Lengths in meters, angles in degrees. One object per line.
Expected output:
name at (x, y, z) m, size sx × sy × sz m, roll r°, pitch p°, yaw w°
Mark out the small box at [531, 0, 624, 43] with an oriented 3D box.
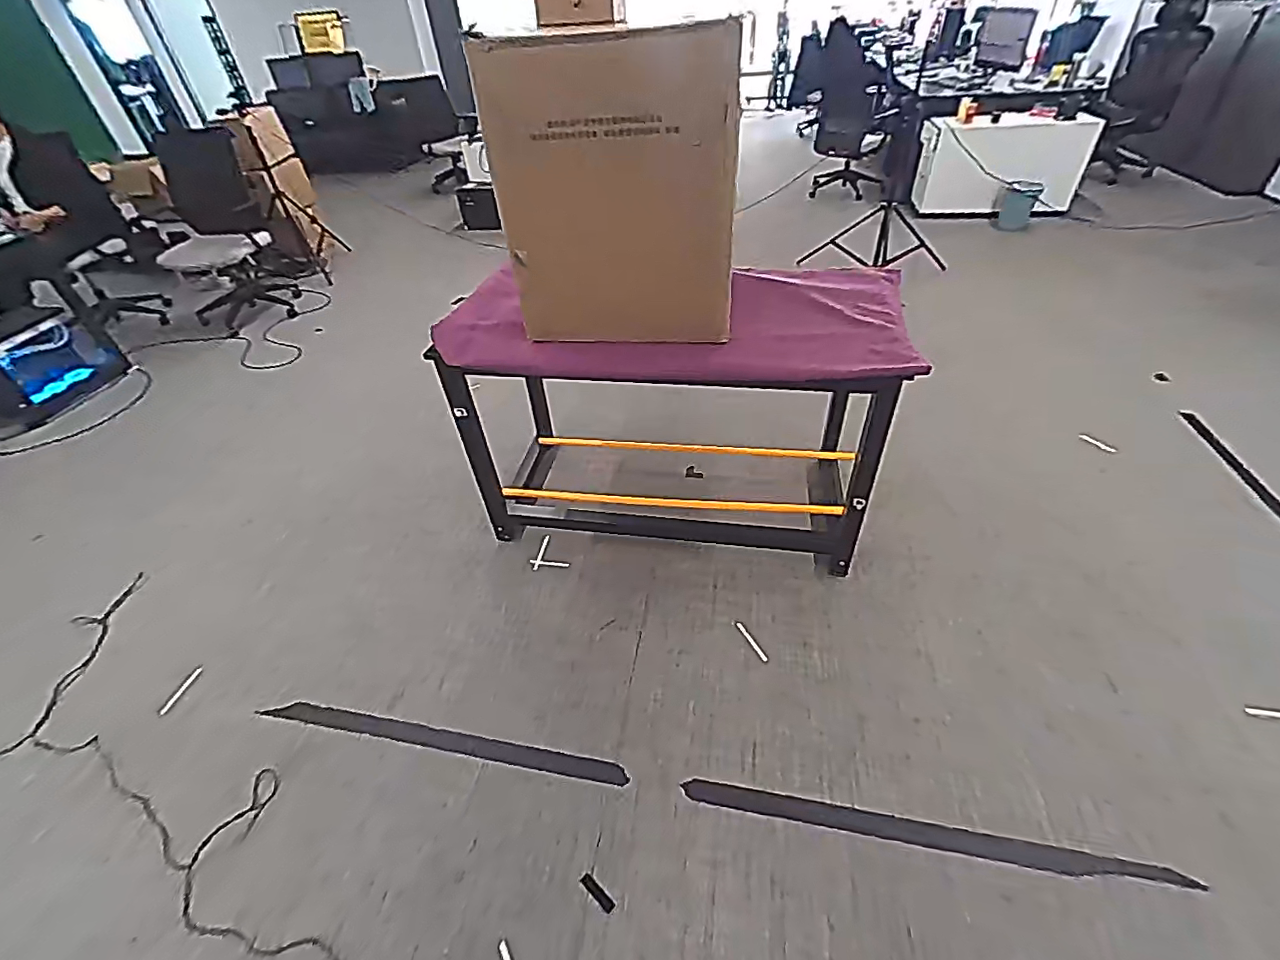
small box at (-0.137, -1.063, 1.171) m, size 0.179 × 0.176 × 0.168 m, roll 4°, pitch 42°, yaw 9°
